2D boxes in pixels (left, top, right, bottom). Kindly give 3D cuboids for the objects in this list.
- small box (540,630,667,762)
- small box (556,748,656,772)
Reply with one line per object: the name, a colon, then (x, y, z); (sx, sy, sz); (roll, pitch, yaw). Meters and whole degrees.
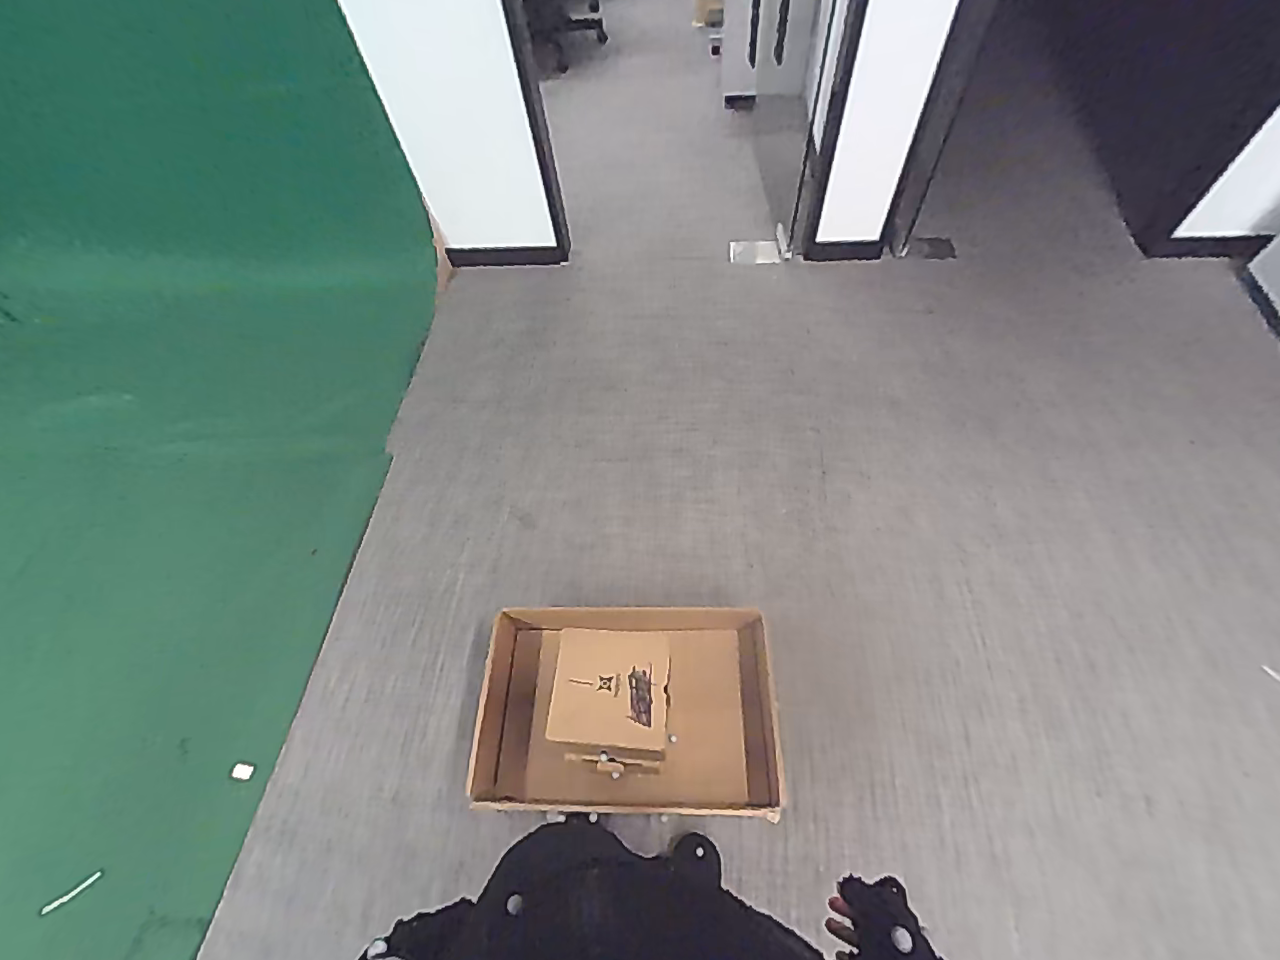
small box: (-0.048, 0.359, 0.890); (0.179, 0.176, 0.168); (3, 57, 6)
small box: (-0.049, 0.441, 1.014); (0.168, 0.176, 0.179); (3, 59, 5)
